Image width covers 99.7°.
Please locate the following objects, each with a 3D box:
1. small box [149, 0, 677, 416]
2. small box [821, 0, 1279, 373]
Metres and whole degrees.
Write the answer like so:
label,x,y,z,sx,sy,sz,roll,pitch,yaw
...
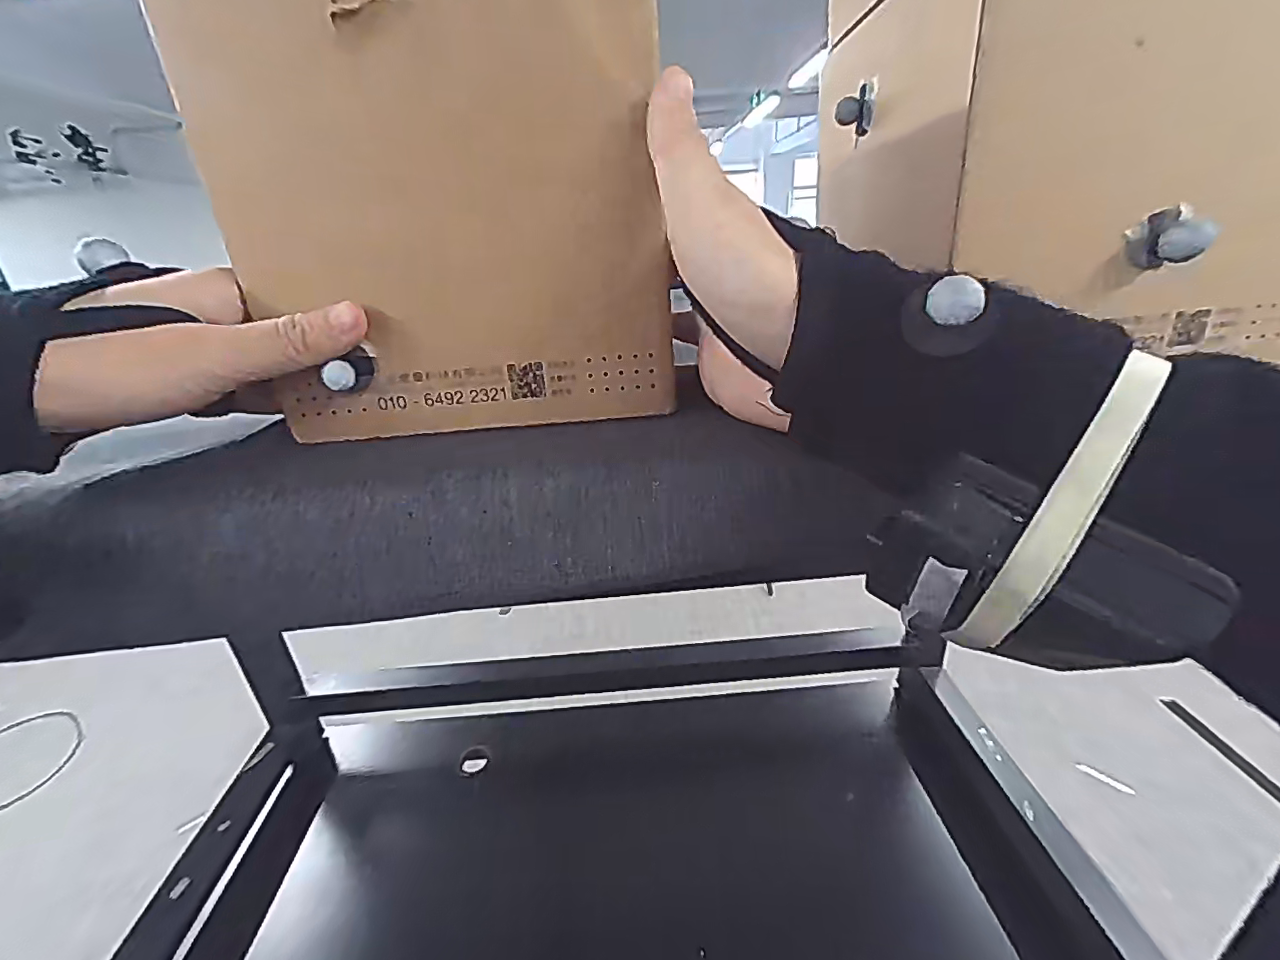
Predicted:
label,x,y,z,sx,sy,sz,roll,pitch,yaw
small box,-0.073,-0.132,0.276,0.168,0.176,0.179,-5,22,-1
small box,0.201,-0.156,0.279,0.168,0.176,0.179,-6,23,1
